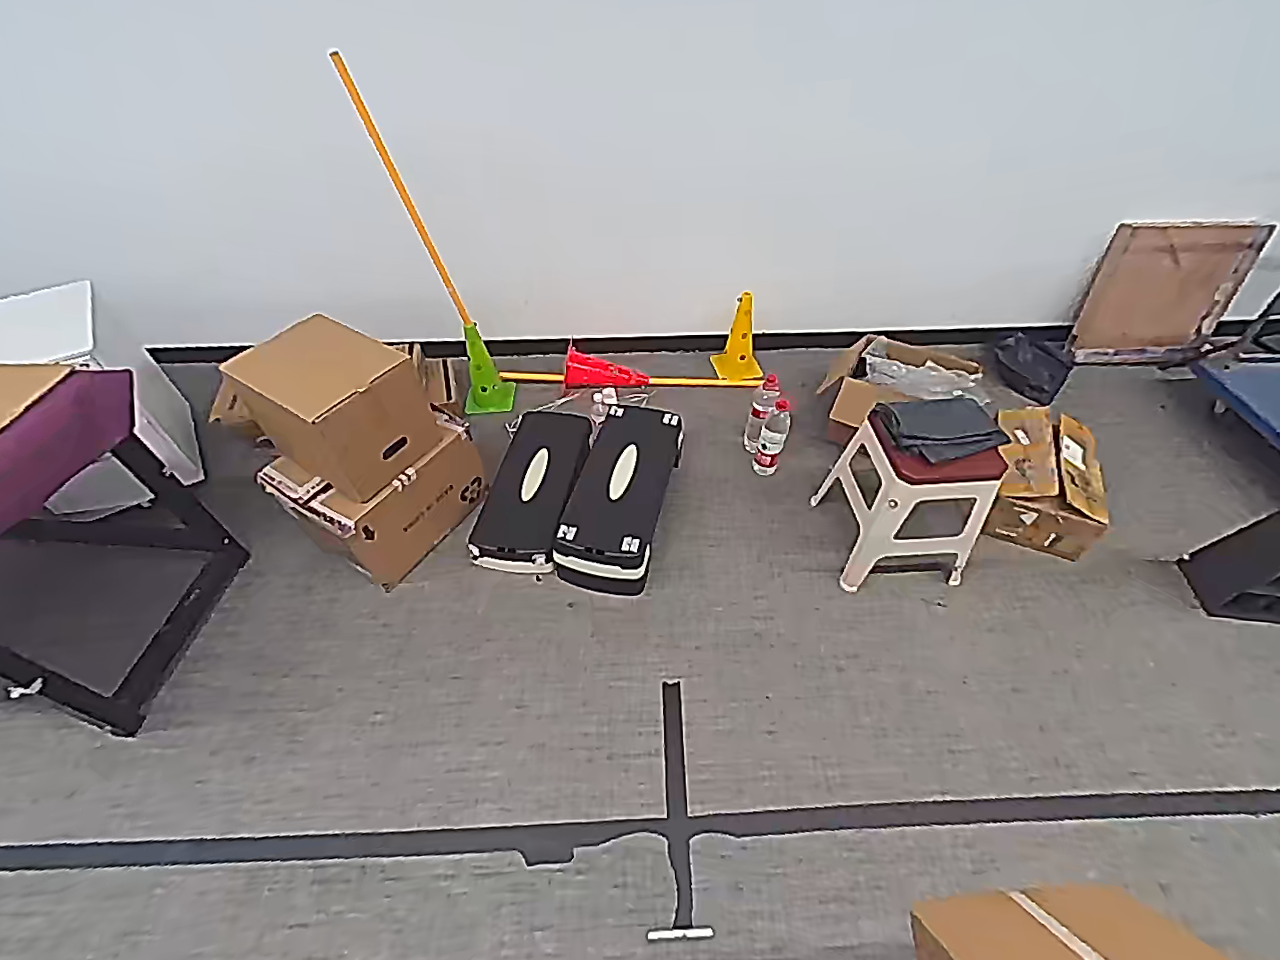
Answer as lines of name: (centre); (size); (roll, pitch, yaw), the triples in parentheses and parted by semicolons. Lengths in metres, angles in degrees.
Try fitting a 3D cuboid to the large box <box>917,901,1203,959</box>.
large box: (0.565, 0.742, 0.574); (0.320, 0.408, 0.320); (-4, 80, -2)
